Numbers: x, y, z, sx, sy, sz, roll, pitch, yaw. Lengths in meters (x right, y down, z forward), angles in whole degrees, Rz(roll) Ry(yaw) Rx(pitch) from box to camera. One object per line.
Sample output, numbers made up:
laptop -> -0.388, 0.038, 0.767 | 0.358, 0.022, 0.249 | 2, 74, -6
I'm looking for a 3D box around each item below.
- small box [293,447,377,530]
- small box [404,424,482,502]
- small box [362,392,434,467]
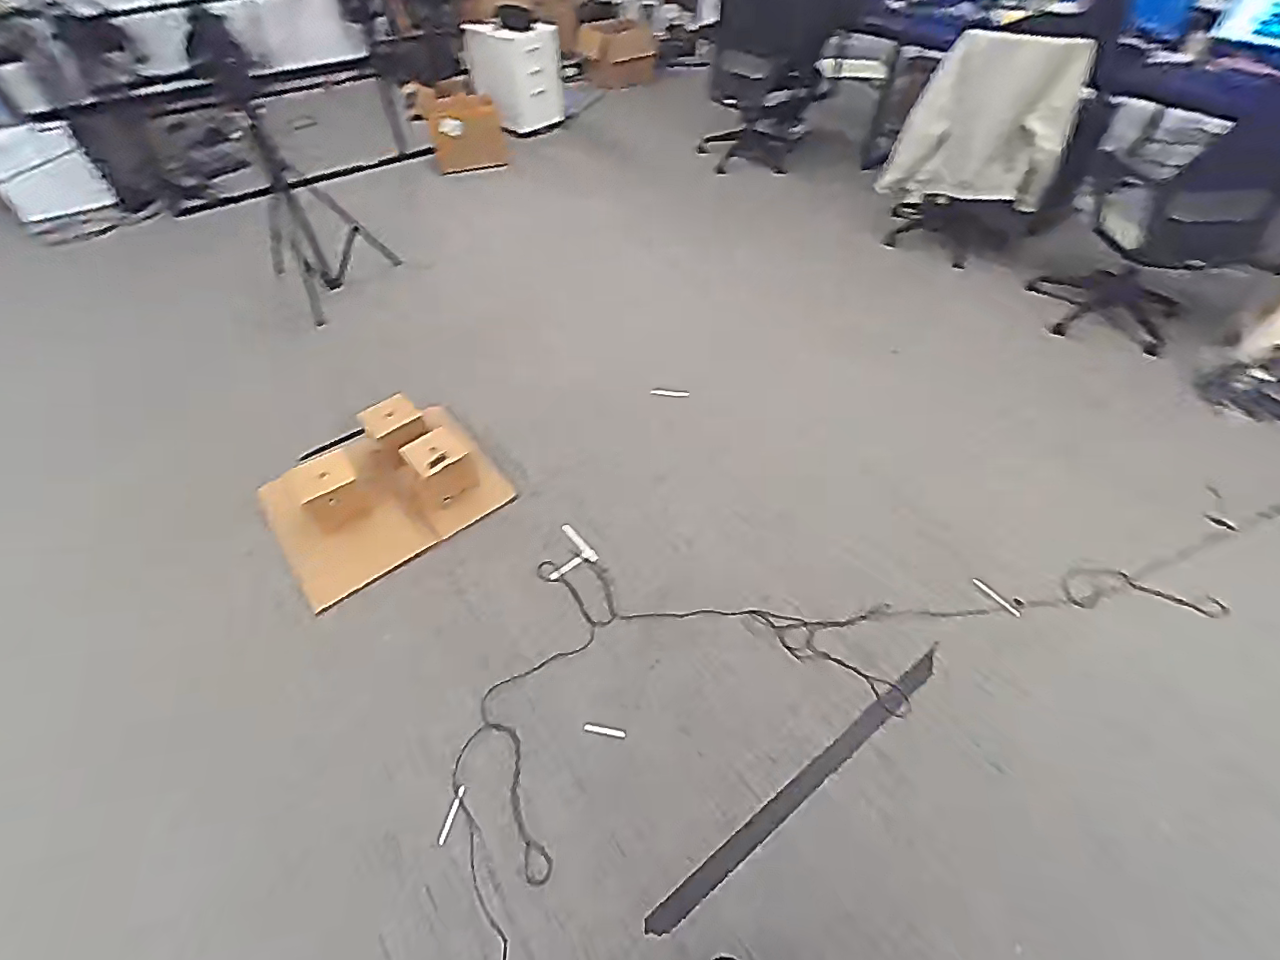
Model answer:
small box -> -0.990, 0.028, 1.772 | 0.179, 0.176, 0.168 | -29, 56, -20
small box -> -0.661, -0.049, 1.835 | 0.168, 0.176, 0.179 | -35, 58, -25
small box -> -0.855, -0.181, 1.948 | 0.179, 0.176, 0.168 | -37, 58, -25
